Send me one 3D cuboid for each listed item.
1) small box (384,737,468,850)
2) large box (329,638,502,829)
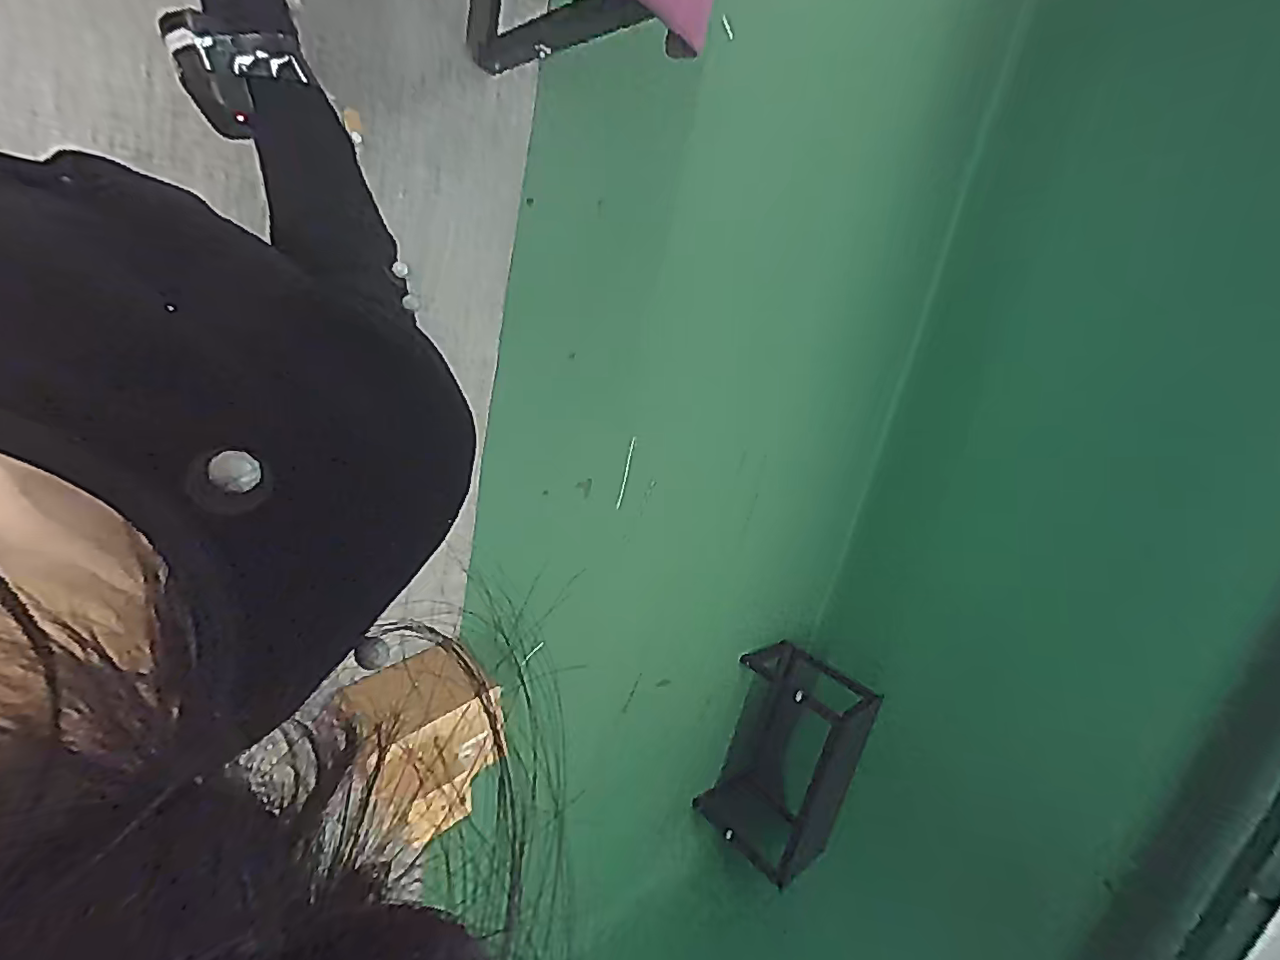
[{"bbox_3d":[-0.602,0.867,1.511,0.179,0.176,0.168,-14,118,-41],"label":"small box"},{"bbox_3d":[-0.709,0.785,1.735,0.408,0.320,0.320,-20,123,-40],"label":"large box"}]
